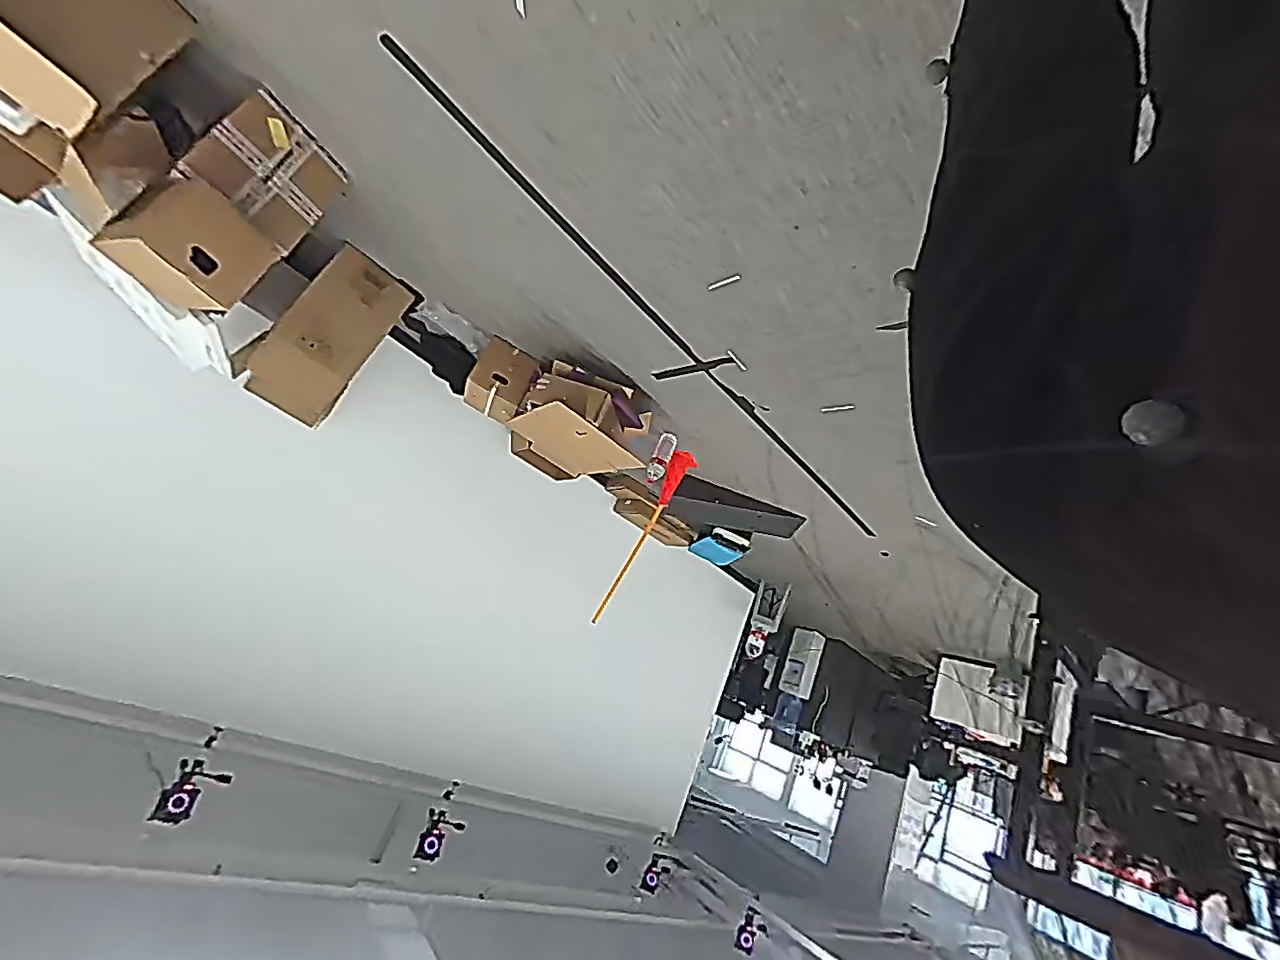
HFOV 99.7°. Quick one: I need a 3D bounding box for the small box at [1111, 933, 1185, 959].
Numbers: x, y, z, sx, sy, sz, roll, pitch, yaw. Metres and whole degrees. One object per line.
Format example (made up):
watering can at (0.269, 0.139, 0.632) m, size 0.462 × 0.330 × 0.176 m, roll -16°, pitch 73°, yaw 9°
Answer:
small box at (1.214, 1.194, 1.257) m, size 0.179 × 0.176 × 0.168 m, roll 36°, pitch 156°, yaw -35°
